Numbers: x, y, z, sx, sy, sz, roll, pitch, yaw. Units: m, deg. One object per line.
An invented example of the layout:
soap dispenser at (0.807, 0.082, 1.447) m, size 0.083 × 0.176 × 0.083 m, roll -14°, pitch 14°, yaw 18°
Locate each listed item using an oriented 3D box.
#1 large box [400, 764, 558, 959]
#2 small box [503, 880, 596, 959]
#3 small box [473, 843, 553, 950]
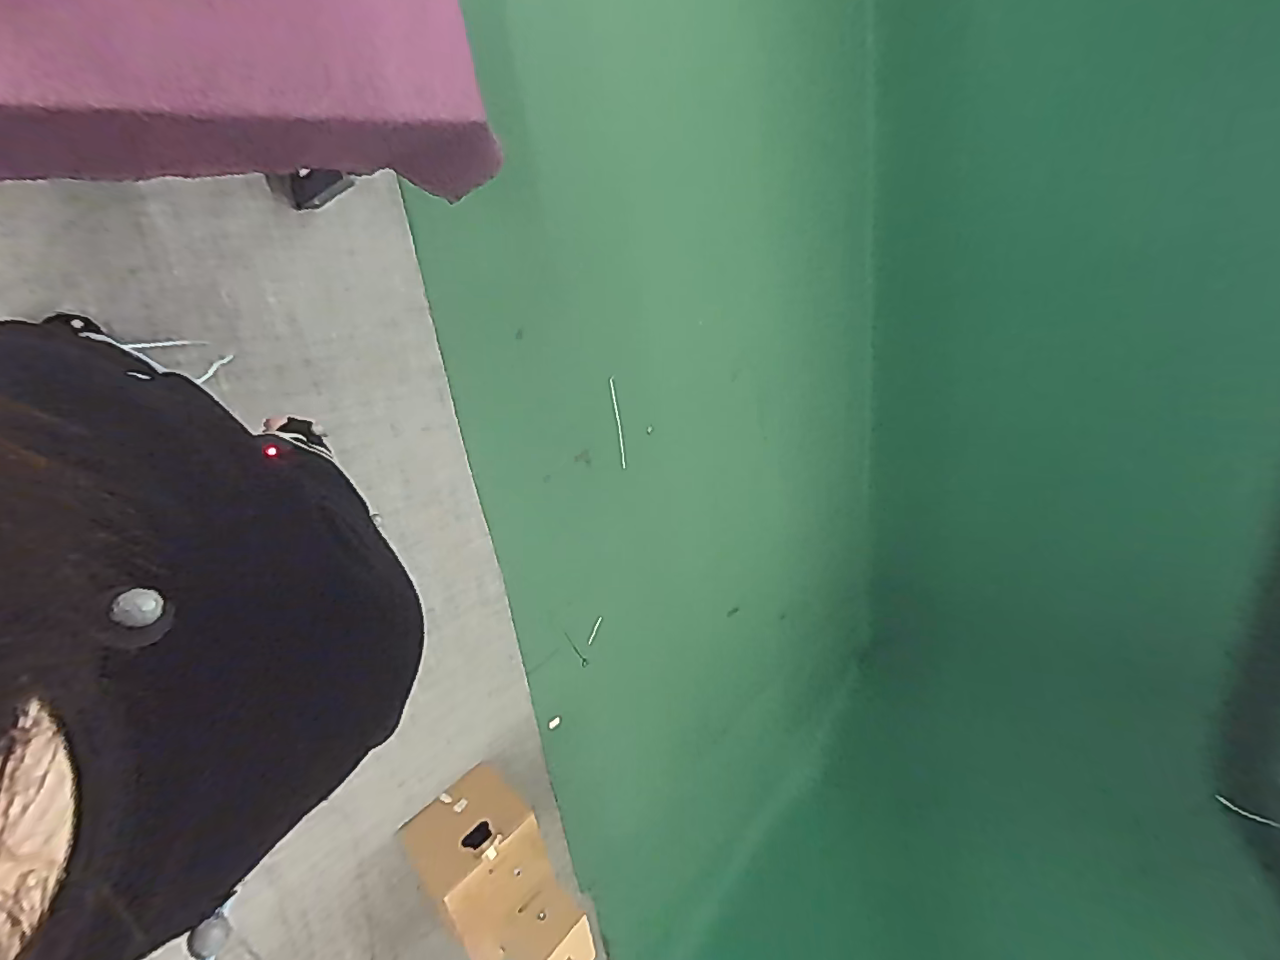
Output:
large box at (-0.514, 1.234, 1.753) m, size 0.320 × 0.320 × 0.408 m, roll -29°, pitch 119°, yaw -40°
small box at (-0.243, 1.216, 1.434) m, size 0.168 × 0.176 × 0.179 m, roll -26°, pitch 117°, yaw -41°
small box at (-0.357, 1.192, 1.551) m, size 0.168 × 0.176 × 0.179 m, roll -26°, pitch 117°, yaw -41°
